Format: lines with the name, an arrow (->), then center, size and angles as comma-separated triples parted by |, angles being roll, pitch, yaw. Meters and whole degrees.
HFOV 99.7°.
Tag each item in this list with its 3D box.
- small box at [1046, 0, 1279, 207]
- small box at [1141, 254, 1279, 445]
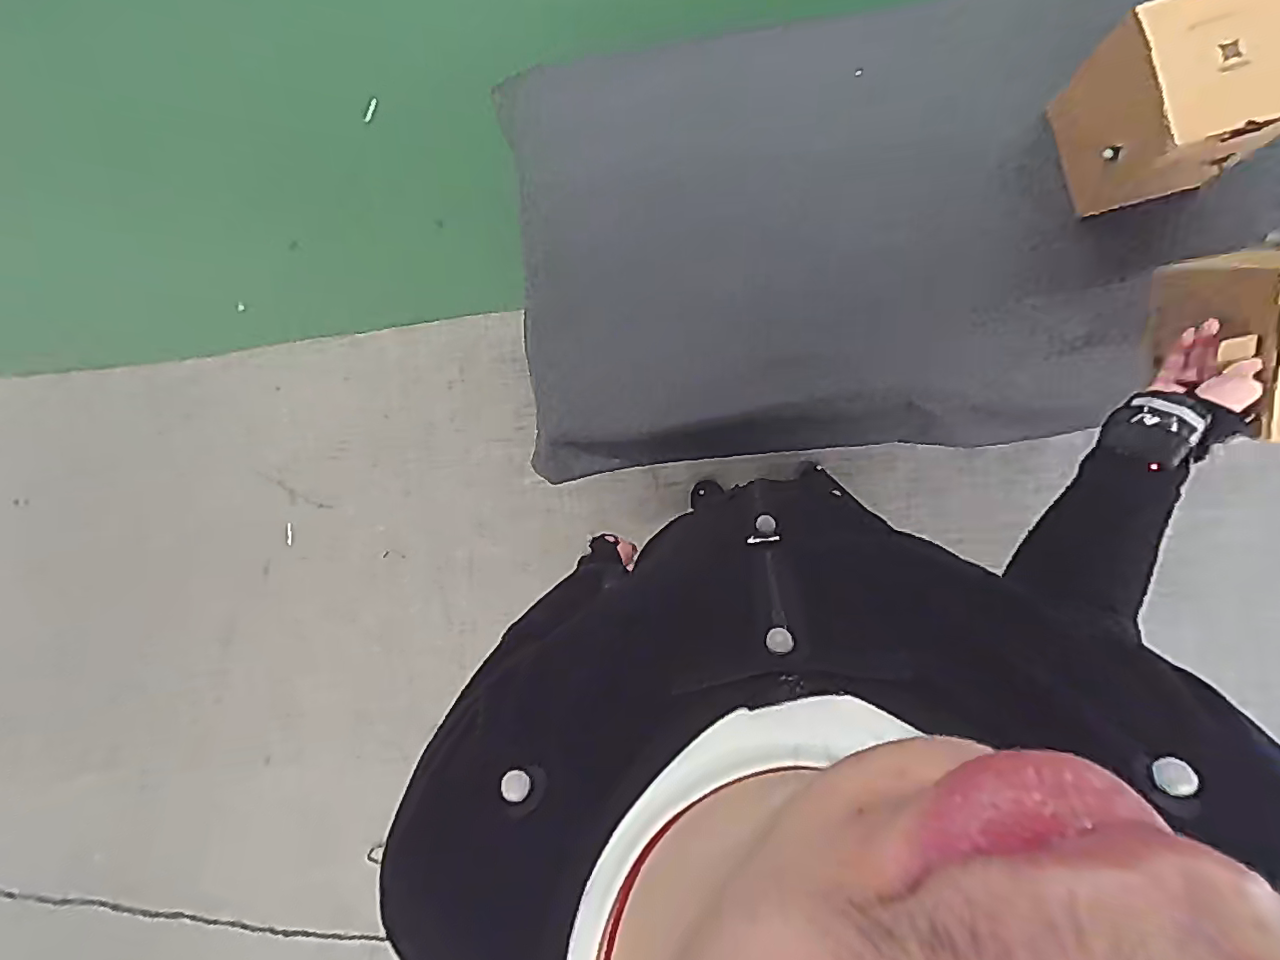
small box -> 0.675, -0.481, 0.695 | 0.168, 0.176, 0.179 | -14, 87, 5
small box -> 0.677, -0.144, 0.559 | 0.179, 0.176, 0.168 | -7, 109, 11
